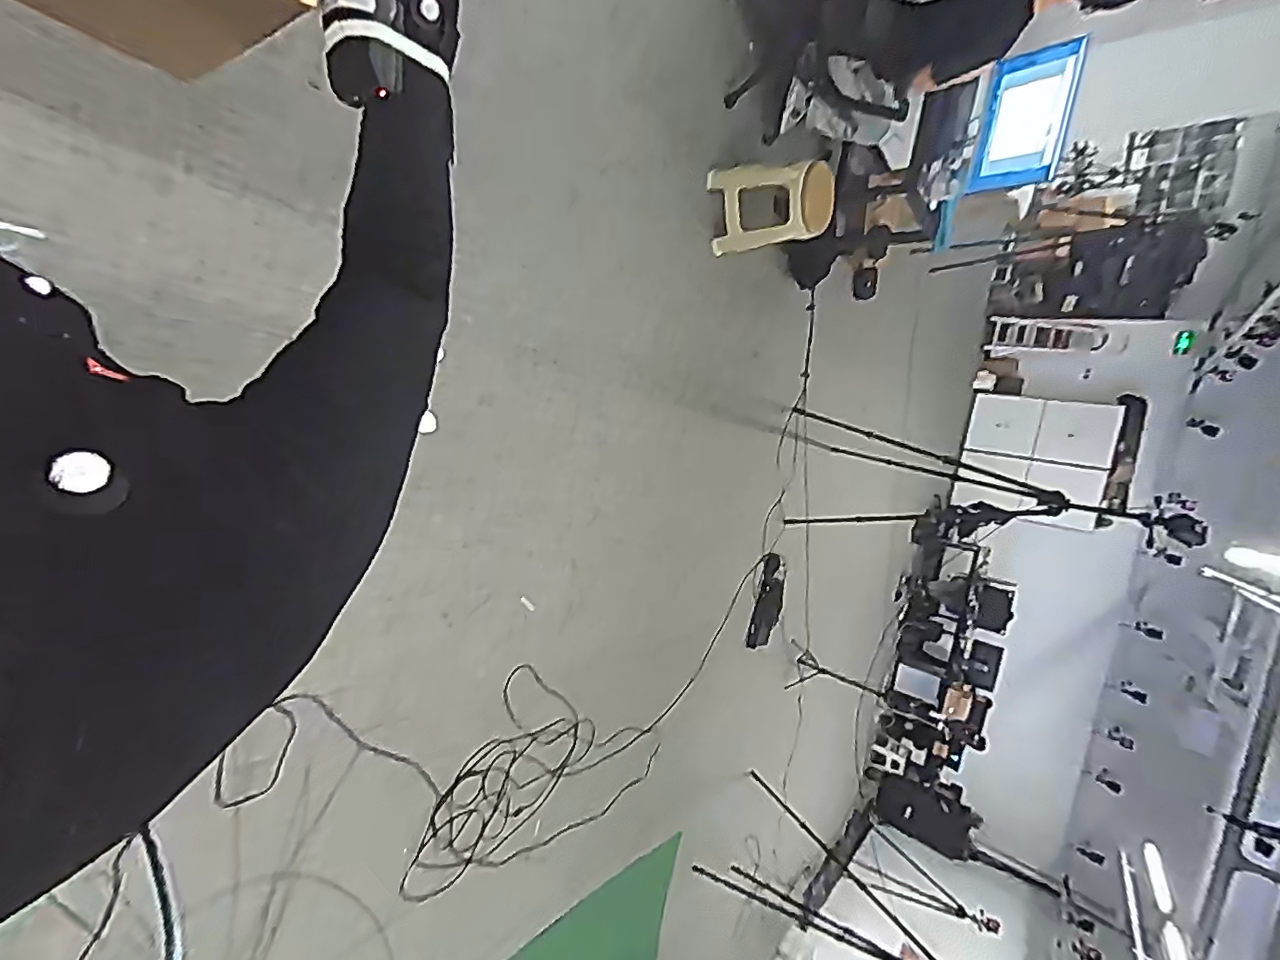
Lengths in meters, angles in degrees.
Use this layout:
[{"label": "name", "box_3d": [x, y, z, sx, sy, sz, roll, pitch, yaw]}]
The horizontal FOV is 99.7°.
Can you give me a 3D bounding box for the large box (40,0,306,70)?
[{"label": "large box", "box_3d": [-0.418, -0.512, 0.273, 0.408, 0.320, 0.320, 2, 105, -53]}]
